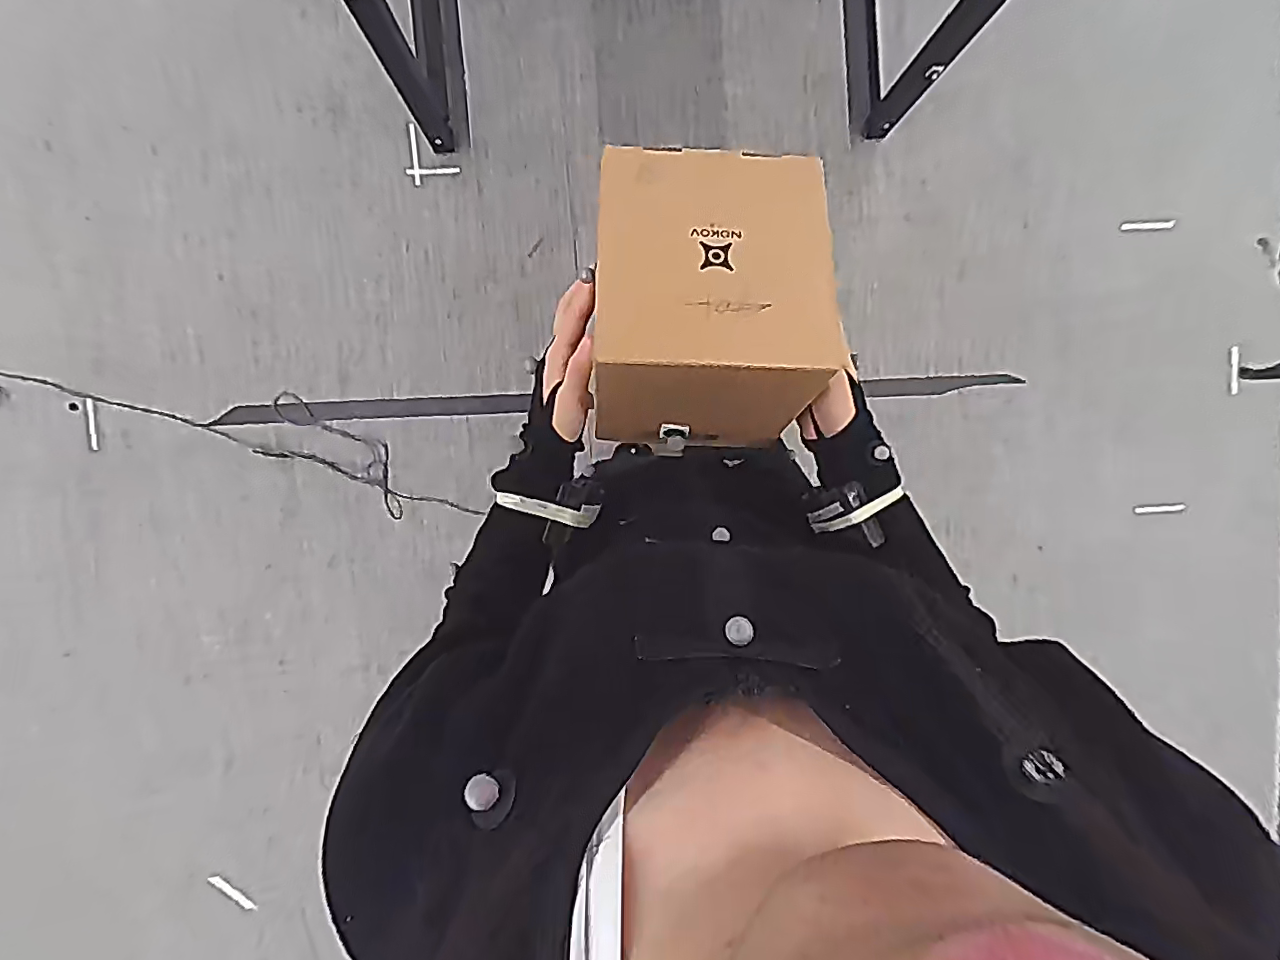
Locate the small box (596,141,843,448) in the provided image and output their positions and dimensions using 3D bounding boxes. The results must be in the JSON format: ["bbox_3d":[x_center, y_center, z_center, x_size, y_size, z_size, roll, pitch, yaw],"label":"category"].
[{"bbox_3d":[0.049,-0.138,0.449,0.168,0.176,0.179,1,76,-3],"label":"small box"}]
